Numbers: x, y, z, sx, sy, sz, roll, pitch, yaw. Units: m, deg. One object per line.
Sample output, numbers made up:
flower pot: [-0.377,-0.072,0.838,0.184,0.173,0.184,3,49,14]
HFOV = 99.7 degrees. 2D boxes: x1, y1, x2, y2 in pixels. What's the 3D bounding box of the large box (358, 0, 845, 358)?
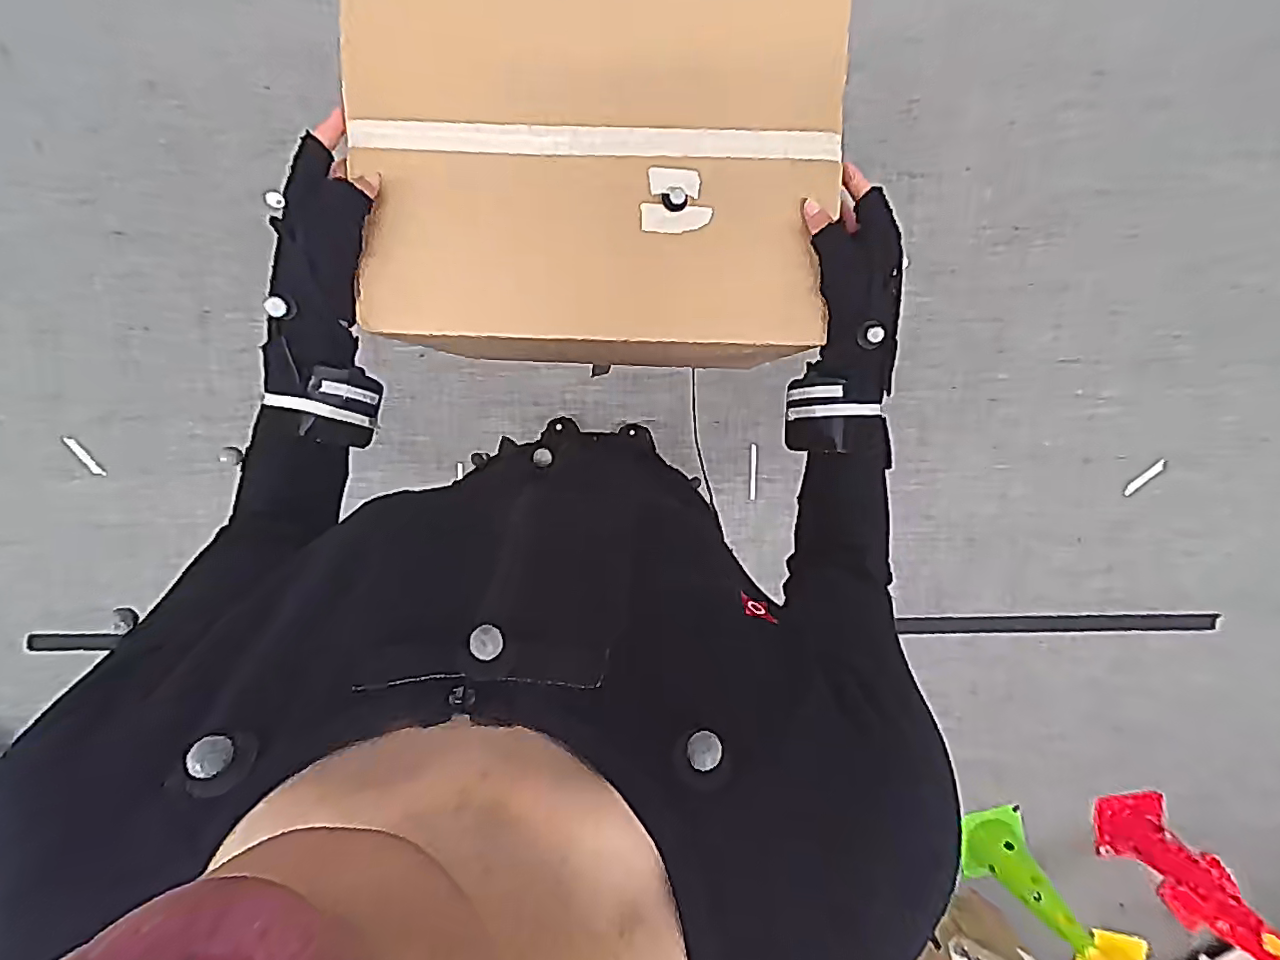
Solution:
large box: [-0.036,-0.306,0.601,0.408,0.320,0.320,1,99,-1]
